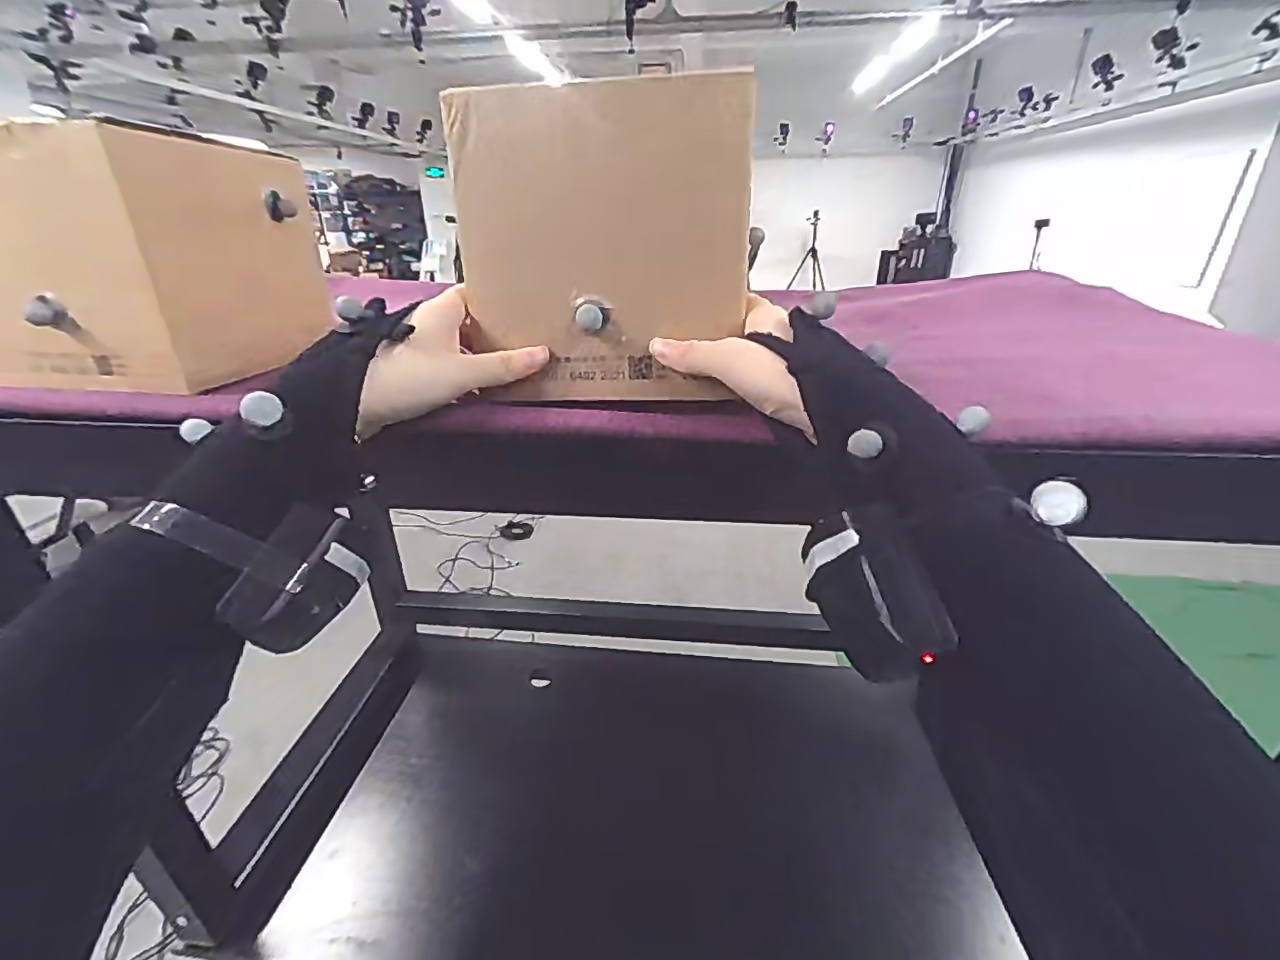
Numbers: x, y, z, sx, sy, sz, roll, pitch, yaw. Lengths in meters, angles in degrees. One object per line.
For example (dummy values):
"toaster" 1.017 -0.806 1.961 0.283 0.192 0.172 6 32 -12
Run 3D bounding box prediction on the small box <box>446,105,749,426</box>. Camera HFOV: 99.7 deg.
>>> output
"small box" -0.014 -0.144 0.386 0.168 0.176 0.179 1 23 7

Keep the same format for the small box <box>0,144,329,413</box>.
"small box" -0.385 -0.163 0.438 0.168 0.176 0.179 3 25 6
